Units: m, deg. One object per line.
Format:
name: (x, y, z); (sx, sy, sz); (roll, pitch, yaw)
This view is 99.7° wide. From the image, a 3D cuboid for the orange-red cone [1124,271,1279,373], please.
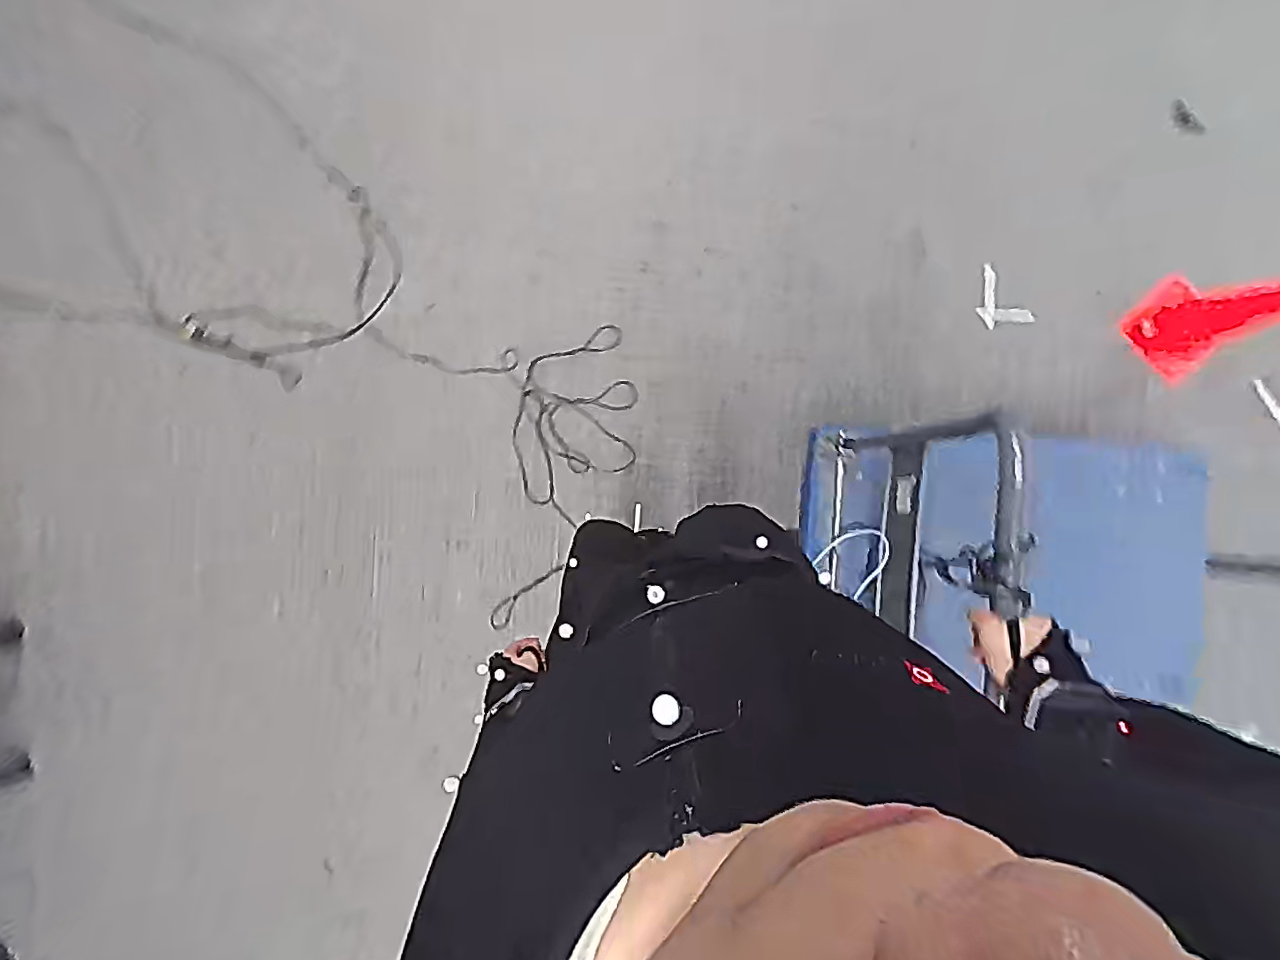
orange-red cone: (1.329, -0.388, 1.173); (0.198, 0.360, 0.199); (-42, 91, 1)
